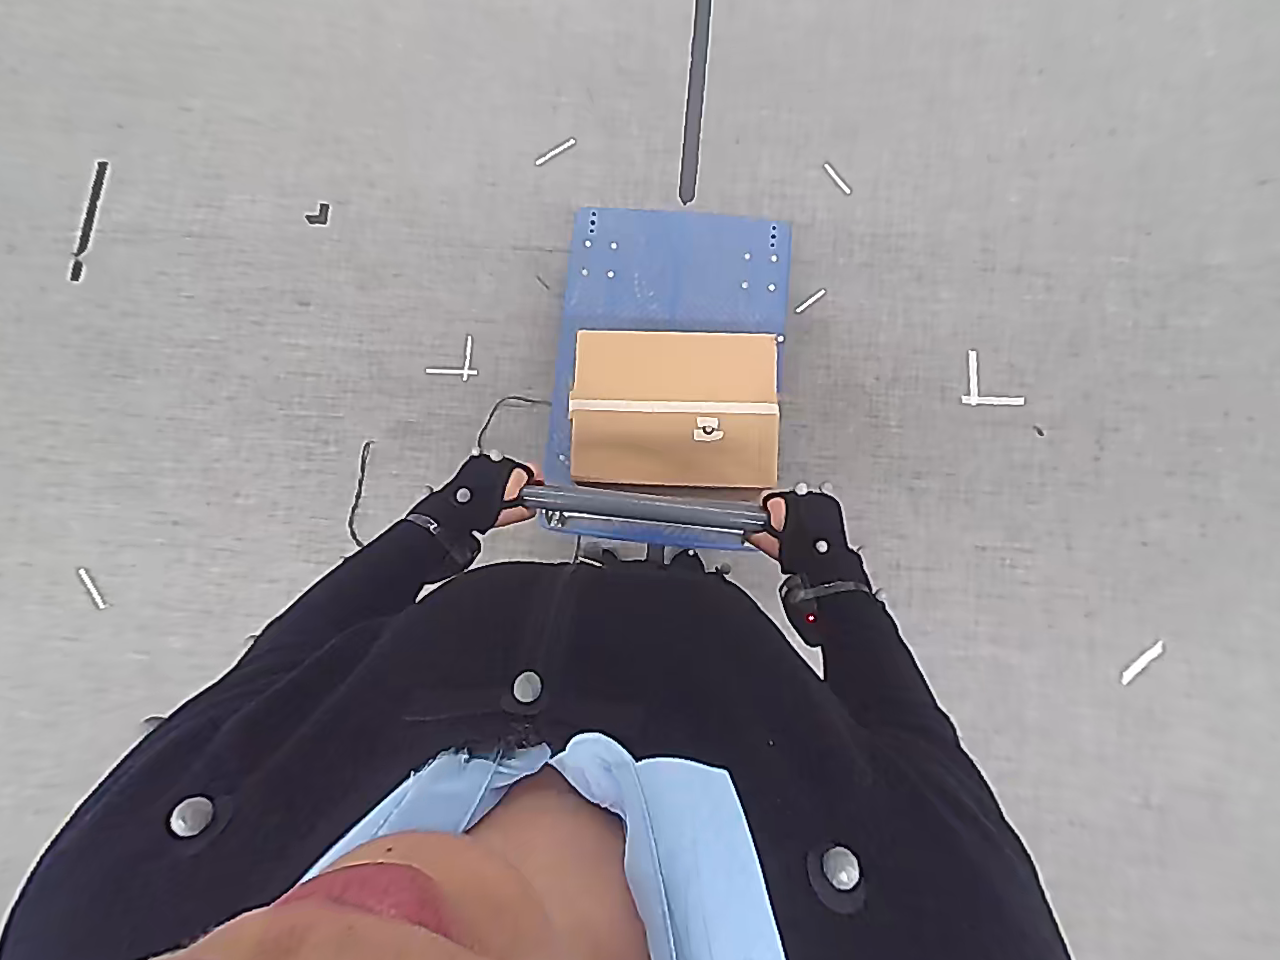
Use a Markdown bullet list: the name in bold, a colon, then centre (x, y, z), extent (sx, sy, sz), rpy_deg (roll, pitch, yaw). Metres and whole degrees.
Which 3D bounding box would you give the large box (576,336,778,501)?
- **large box**: centre (0.074, -0.119, 1.225), extent (0.408, 0.320, 0.320), rpy_deg (2, 83, 1)
